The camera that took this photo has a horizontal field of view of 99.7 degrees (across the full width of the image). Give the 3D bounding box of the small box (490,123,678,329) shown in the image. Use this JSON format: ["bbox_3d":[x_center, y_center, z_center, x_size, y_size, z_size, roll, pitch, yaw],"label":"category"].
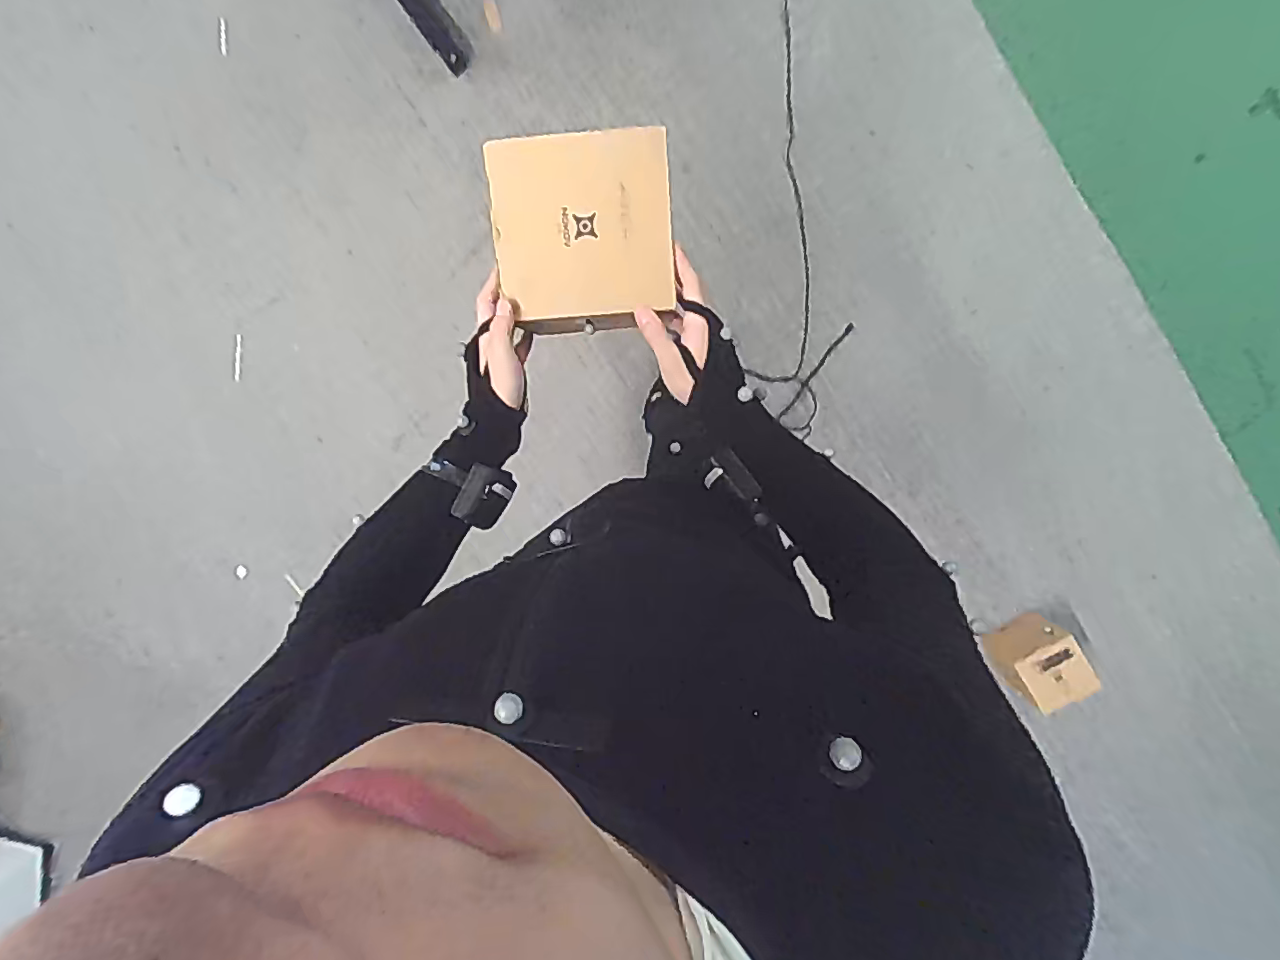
[{"bbox_3d":[-0.050,-0.261,0.594,0.179,0.176,0.168,-2,100,1],"label":"small box"}]
